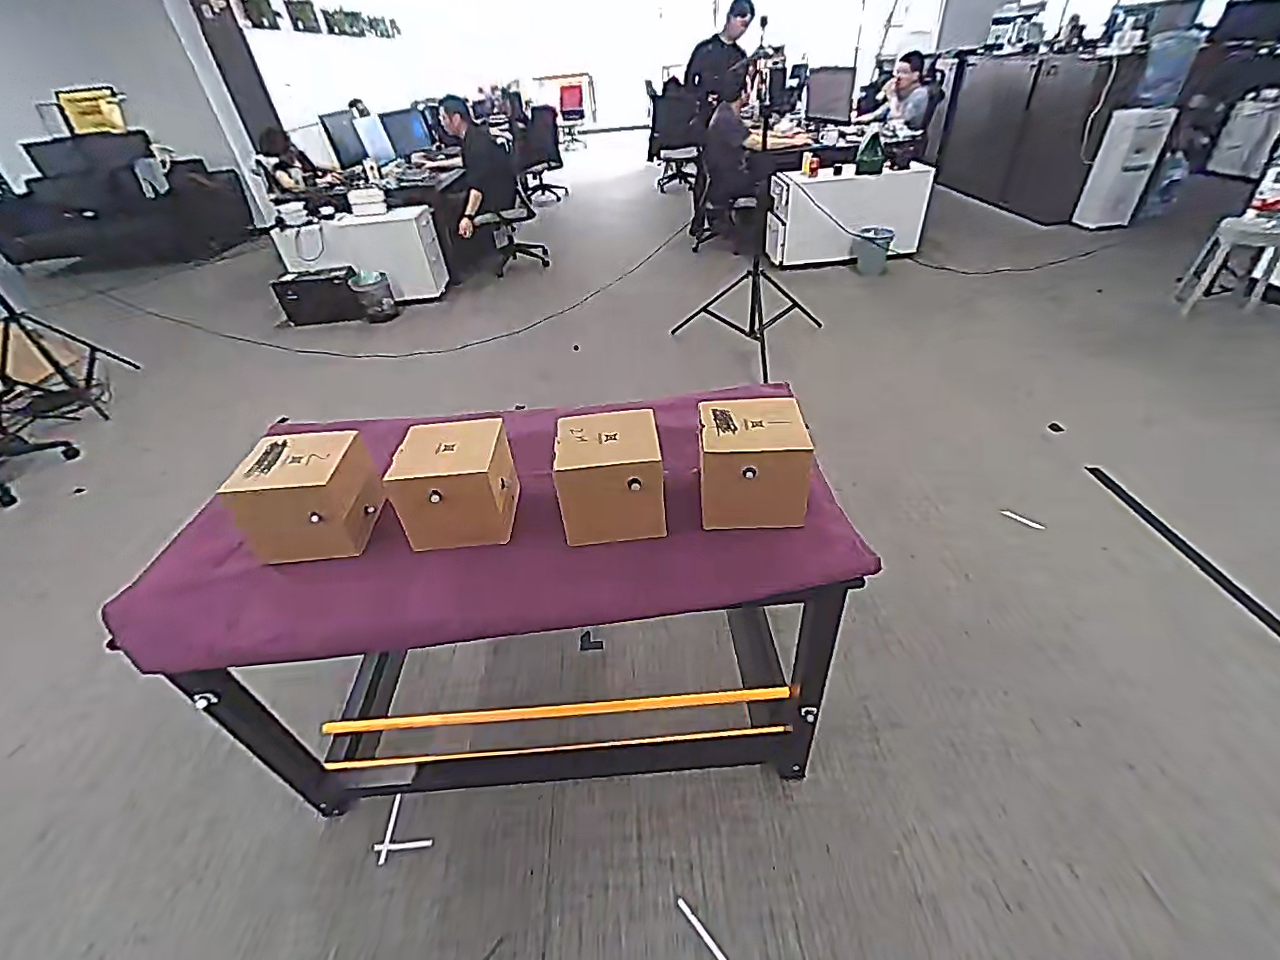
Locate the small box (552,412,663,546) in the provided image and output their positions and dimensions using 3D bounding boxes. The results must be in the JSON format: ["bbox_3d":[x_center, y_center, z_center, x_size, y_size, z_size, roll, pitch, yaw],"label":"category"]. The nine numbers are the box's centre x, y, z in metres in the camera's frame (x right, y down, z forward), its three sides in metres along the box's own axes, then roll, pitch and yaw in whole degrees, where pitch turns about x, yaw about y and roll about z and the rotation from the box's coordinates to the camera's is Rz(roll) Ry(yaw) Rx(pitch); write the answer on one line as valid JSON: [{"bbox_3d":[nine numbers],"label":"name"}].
[{"bbox_3d":[-0.051,-0.002,0.963,0.179,0.176,0.168,-6,36,0],"label":"small box"}]

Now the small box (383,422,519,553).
[{"bbox_3d":[-0.328,0.014,0.986,0.179,0.176,0.168,-6,38,1],"label":"small box"}]

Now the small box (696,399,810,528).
[{"bbox_3d":[0.193,-0.027,0.962,0.179,0.176,0.168,-2,37,5],"label":"small box"}]
